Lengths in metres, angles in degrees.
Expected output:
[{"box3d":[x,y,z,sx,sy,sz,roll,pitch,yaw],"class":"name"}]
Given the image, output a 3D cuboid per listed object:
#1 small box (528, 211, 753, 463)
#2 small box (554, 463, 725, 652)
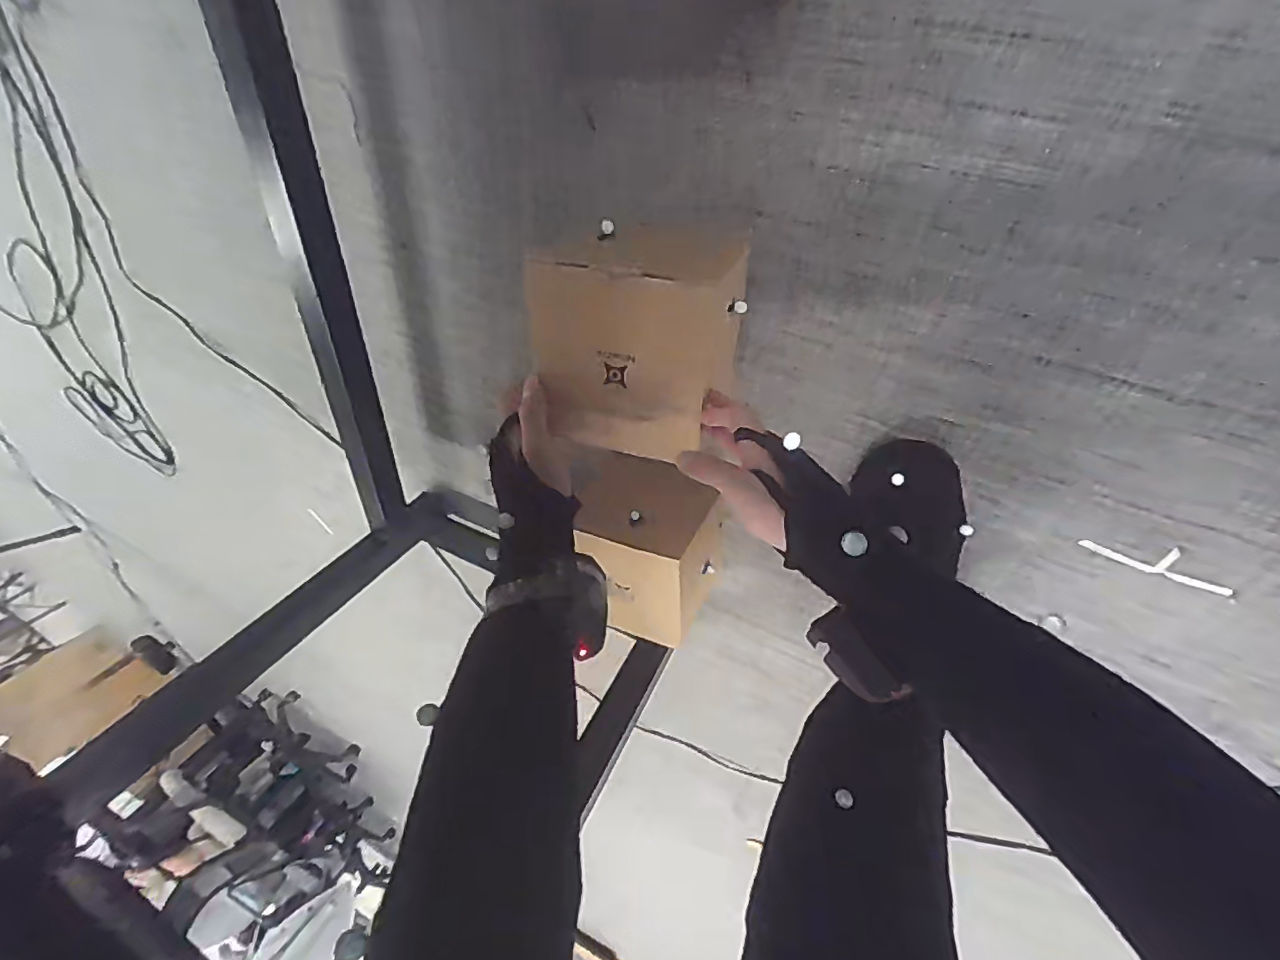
[{"box3d":[0.007,-0.147,0.526,0.168,0.176,0.179,14,130,13],"class":"small box"},{"box3d":[0.009,0.095,0.738,0.179,0.176,0.168,14,128,23],"class":"small box"}]
